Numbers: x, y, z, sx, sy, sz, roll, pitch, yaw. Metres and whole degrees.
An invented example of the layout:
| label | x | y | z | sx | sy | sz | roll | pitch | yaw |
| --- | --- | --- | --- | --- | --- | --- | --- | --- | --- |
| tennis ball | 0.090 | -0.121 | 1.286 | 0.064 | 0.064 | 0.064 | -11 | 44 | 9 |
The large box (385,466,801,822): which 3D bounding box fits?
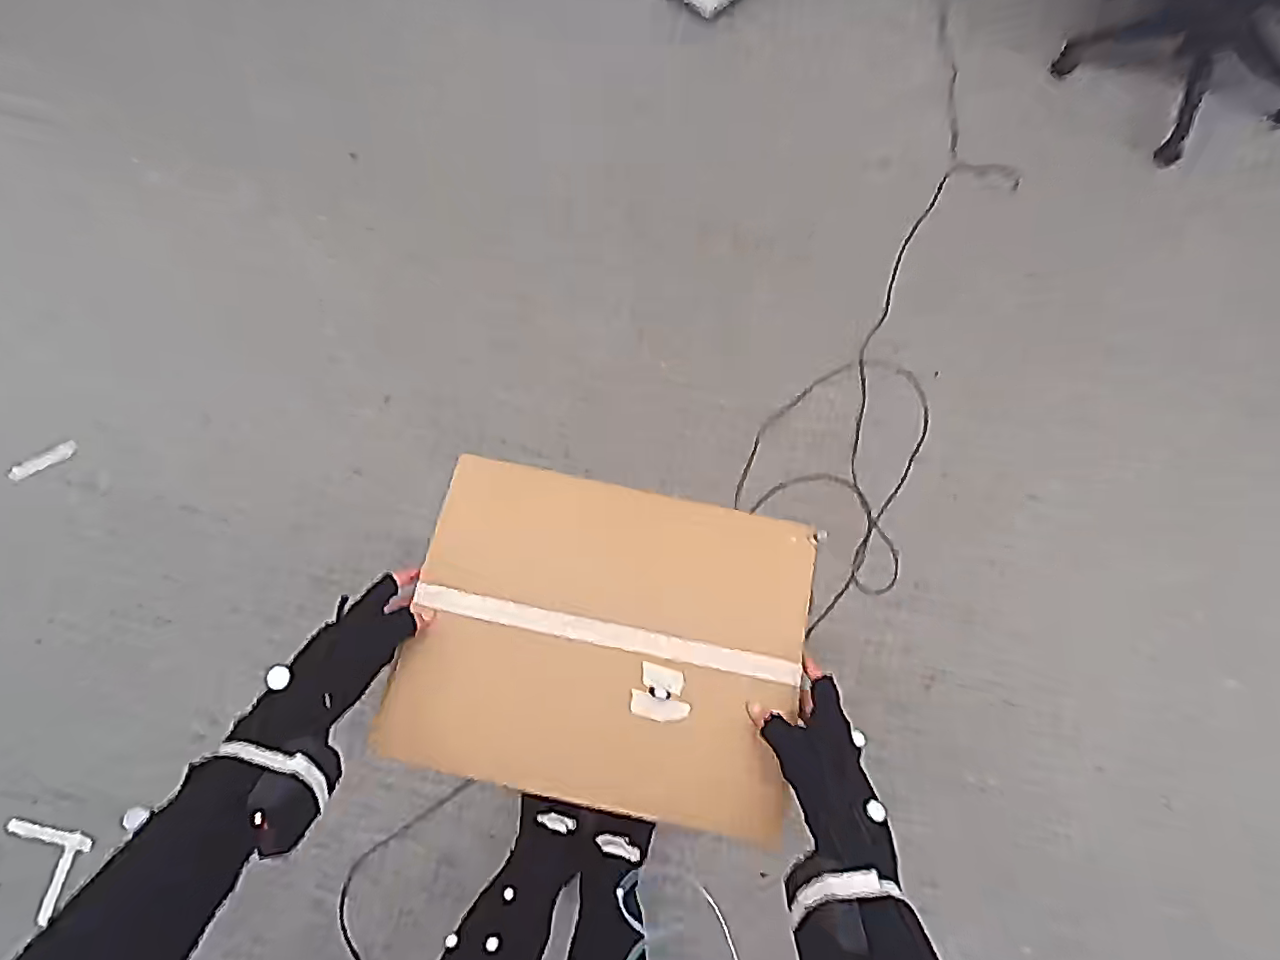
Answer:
| label | x | y | z | sx | sy | sz | roll | pitch | yaw |
| --- | --- | --- | --- | --- | --- | --- | --- | --- | --- |
| large box | -0.043 | 0.205 | 0.725 | 0.408 | 0.320 | 0.320 | 12 | 74 | 1 |
